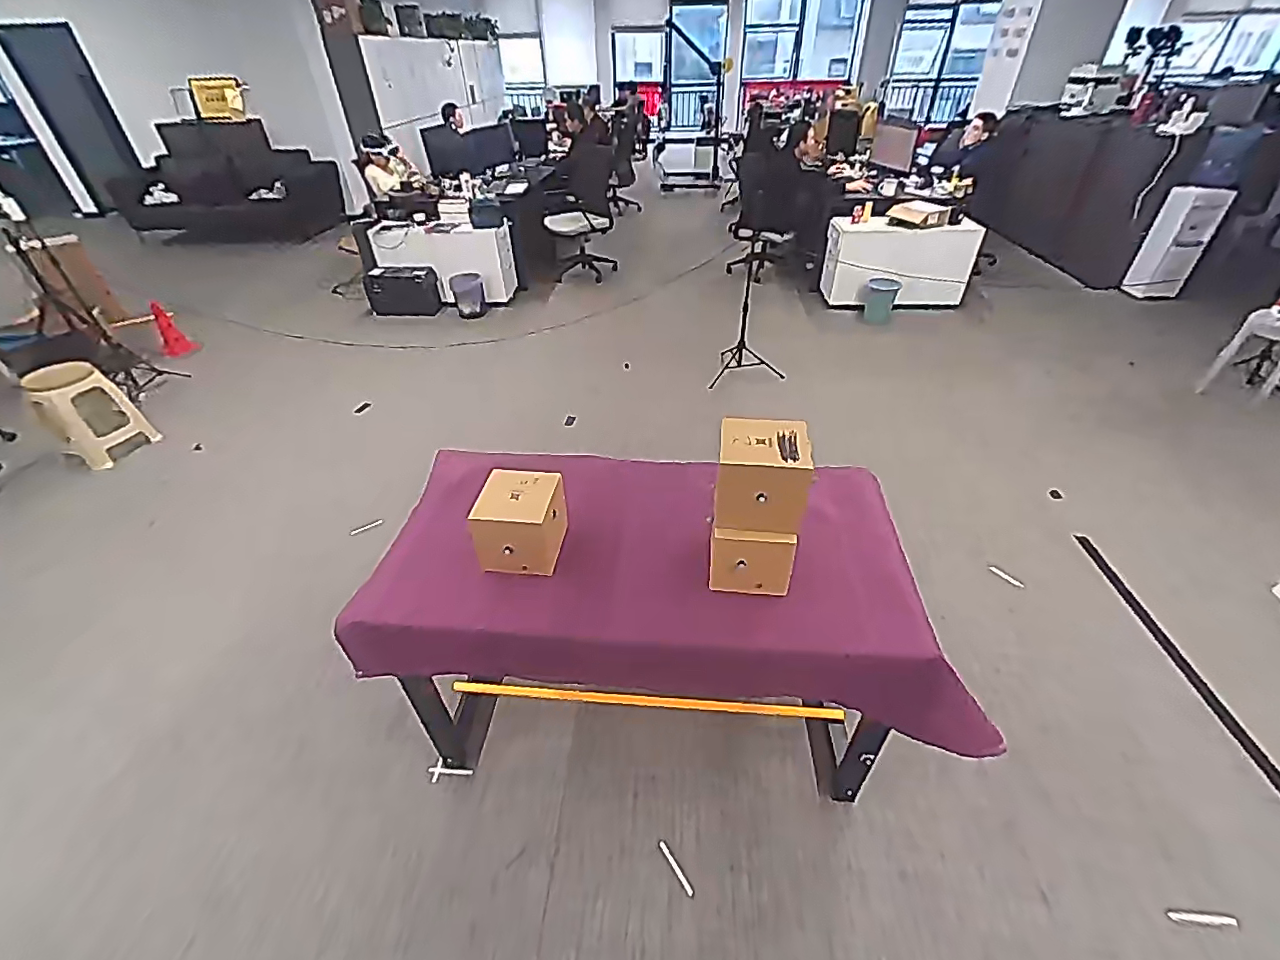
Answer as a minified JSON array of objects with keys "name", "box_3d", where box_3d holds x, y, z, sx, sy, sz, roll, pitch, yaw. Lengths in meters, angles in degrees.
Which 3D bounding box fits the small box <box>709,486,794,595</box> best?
[{"name":"small box","box_3d":[0.242,0.135,1.199,0.168,0.176,0.179,4,38,6]}]

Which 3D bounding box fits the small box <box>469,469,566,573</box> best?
[{"name":"small box","box_3d":[-0.273,0.096,1.257,0.168,0.176,0.179,4,39,6]}]
